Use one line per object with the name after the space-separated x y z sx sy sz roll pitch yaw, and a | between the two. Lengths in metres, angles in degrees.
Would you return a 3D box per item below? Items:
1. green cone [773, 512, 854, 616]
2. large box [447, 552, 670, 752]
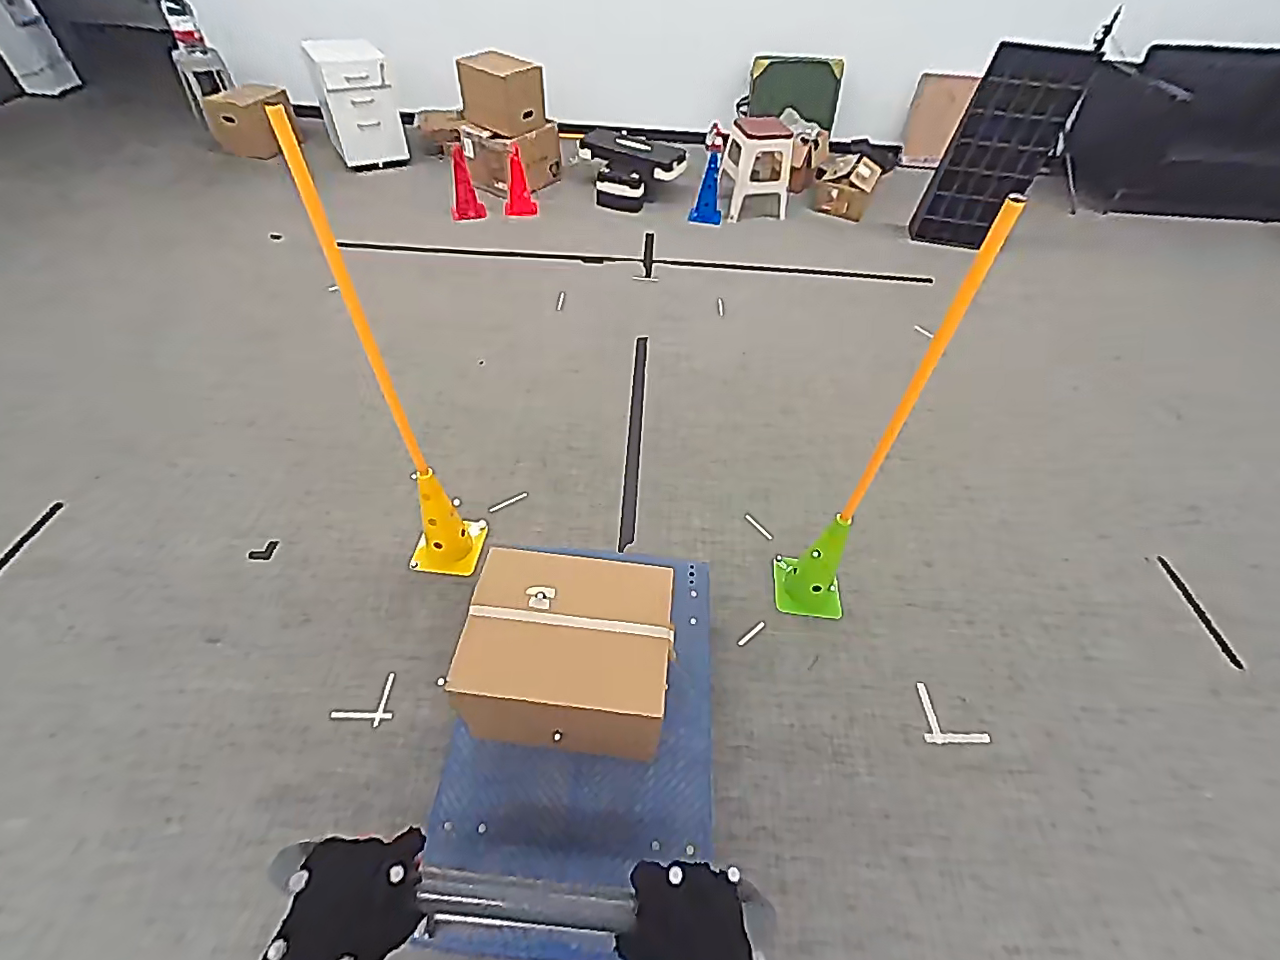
0.535 0.219 1.576 0.202 0.368 0.200 7 49 1 | green cone
-0.148 0.386 1.198 0.408 0.320 0.320 6 50 3 | large box
